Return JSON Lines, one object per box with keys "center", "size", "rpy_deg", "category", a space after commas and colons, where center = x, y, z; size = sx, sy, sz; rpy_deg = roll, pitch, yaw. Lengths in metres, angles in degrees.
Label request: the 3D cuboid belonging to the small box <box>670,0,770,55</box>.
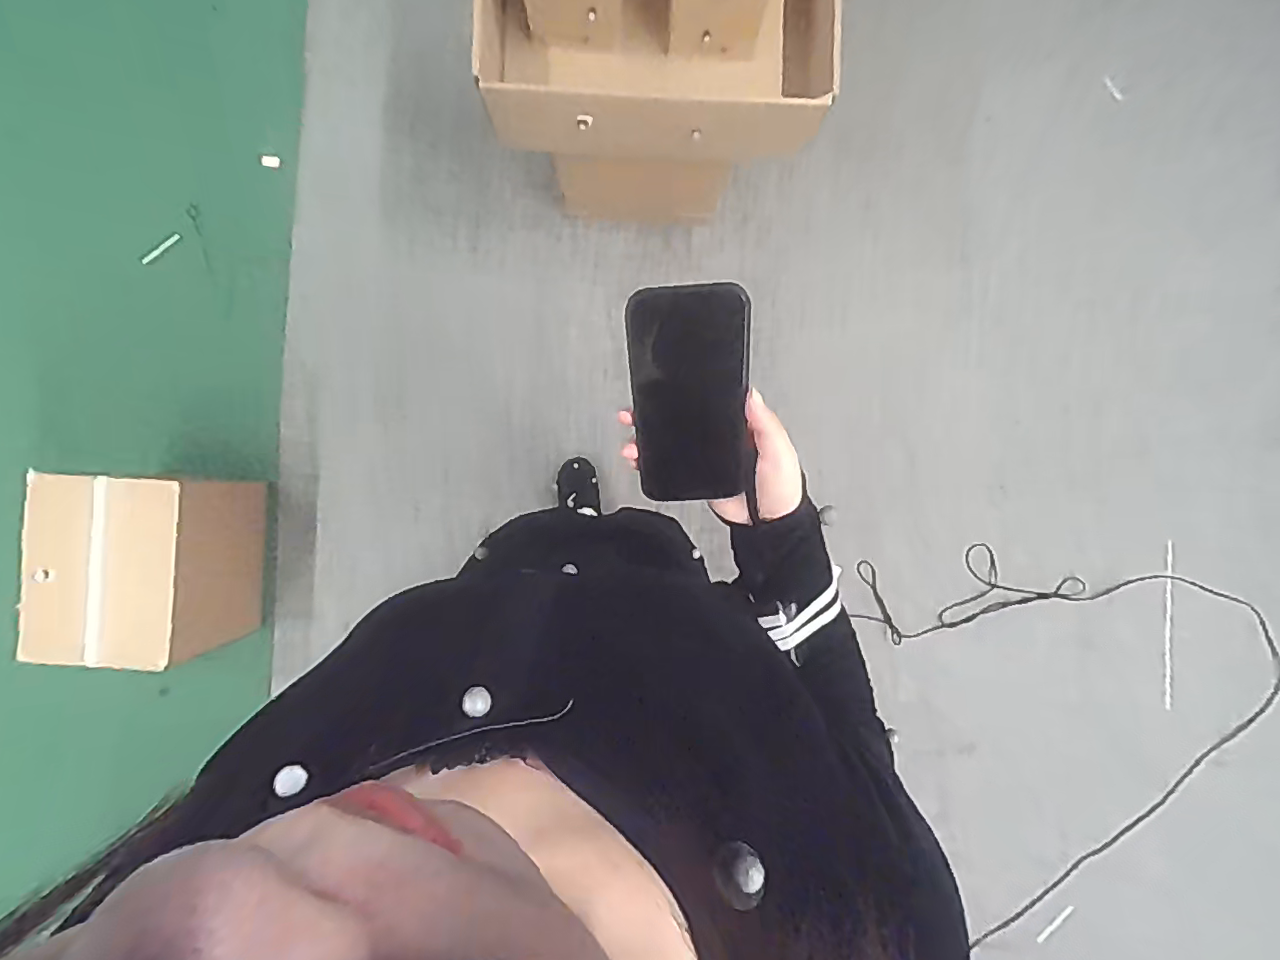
{"center": [0.142, -0.902, 0.949], "size": [0.168, 0.176, 0.179], "rpy_deg": [2, 91, -1], "category": "small box"}
